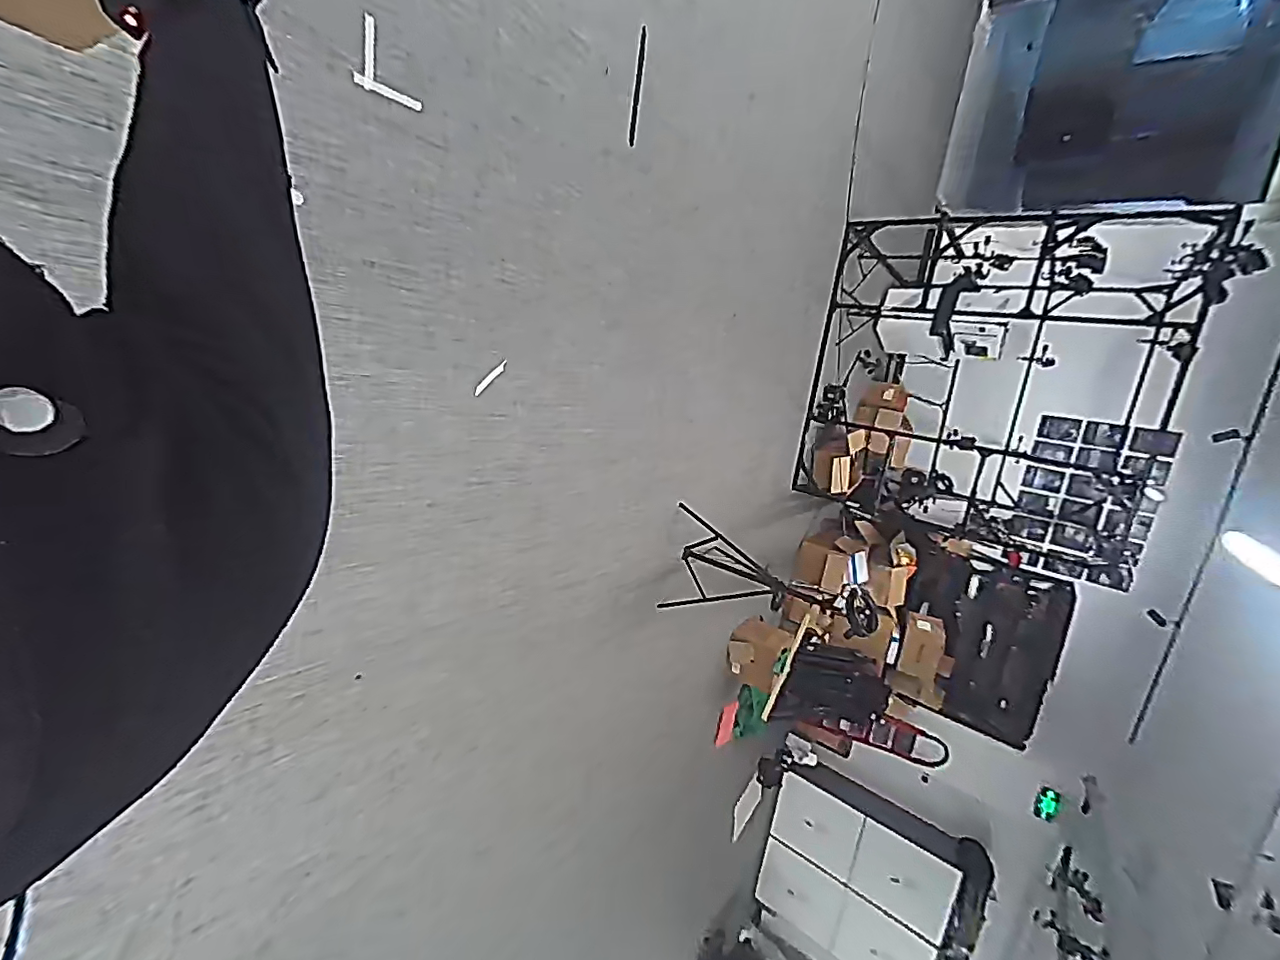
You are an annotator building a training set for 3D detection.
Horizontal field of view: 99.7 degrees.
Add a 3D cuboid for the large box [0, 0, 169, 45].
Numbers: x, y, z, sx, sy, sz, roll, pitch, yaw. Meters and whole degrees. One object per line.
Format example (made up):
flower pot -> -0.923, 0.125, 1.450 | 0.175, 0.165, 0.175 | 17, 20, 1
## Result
large box -> -0.564, -0.548, 0.307 | 0.408, 0.320, 0.320 | -4, 113, -55
